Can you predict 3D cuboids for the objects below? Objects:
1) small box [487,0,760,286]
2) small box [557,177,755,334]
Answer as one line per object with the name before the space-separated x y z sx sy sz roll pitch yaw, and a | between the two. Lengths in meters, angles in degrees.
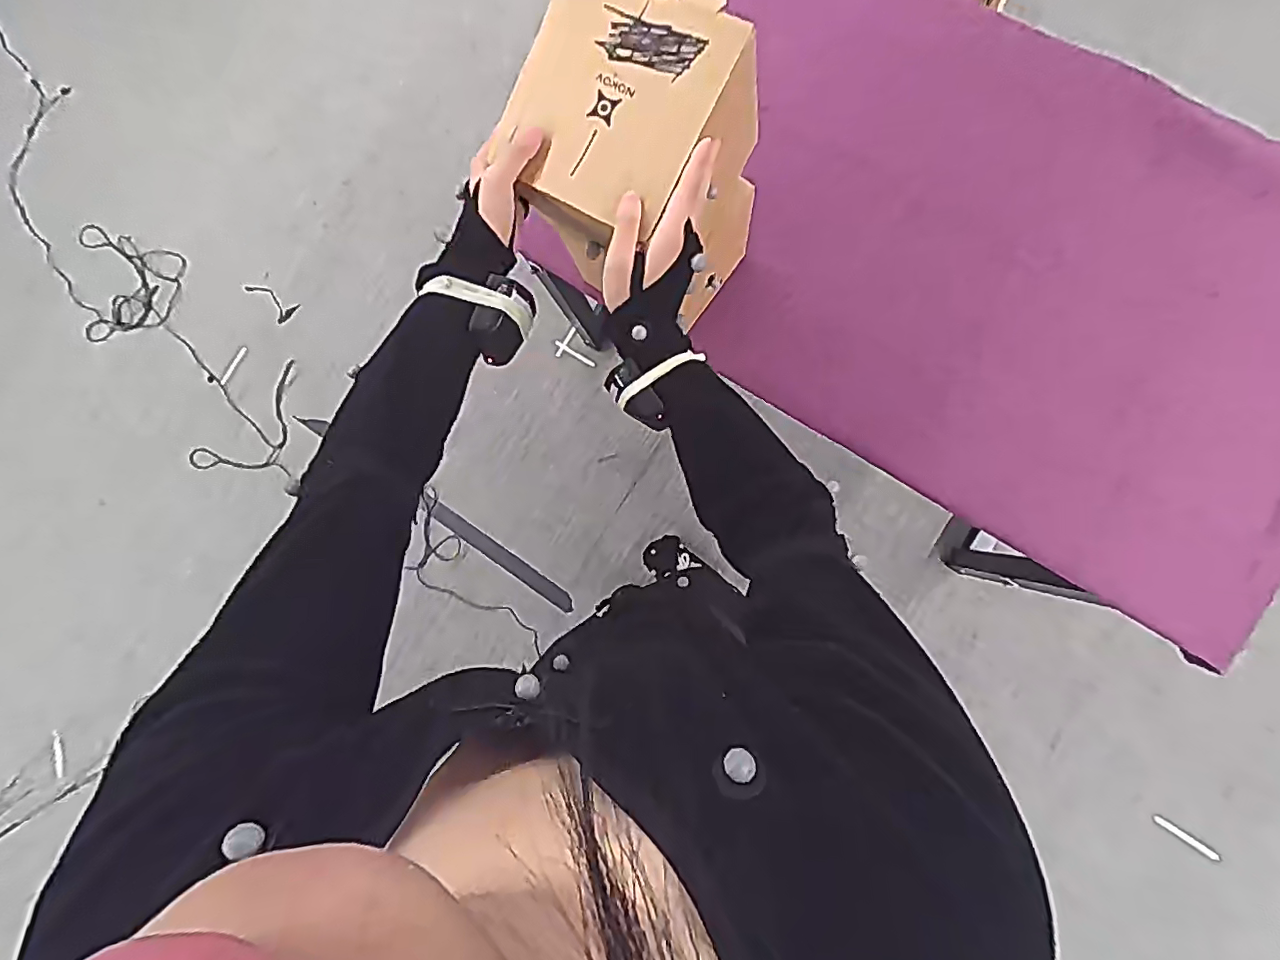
small box | -0.004 -0.312 0.504 0.168 0.176 0.179 31 102 8
small box | 0.026 -0.313 0.705 0.179 0.176 0.168 37 91 8
